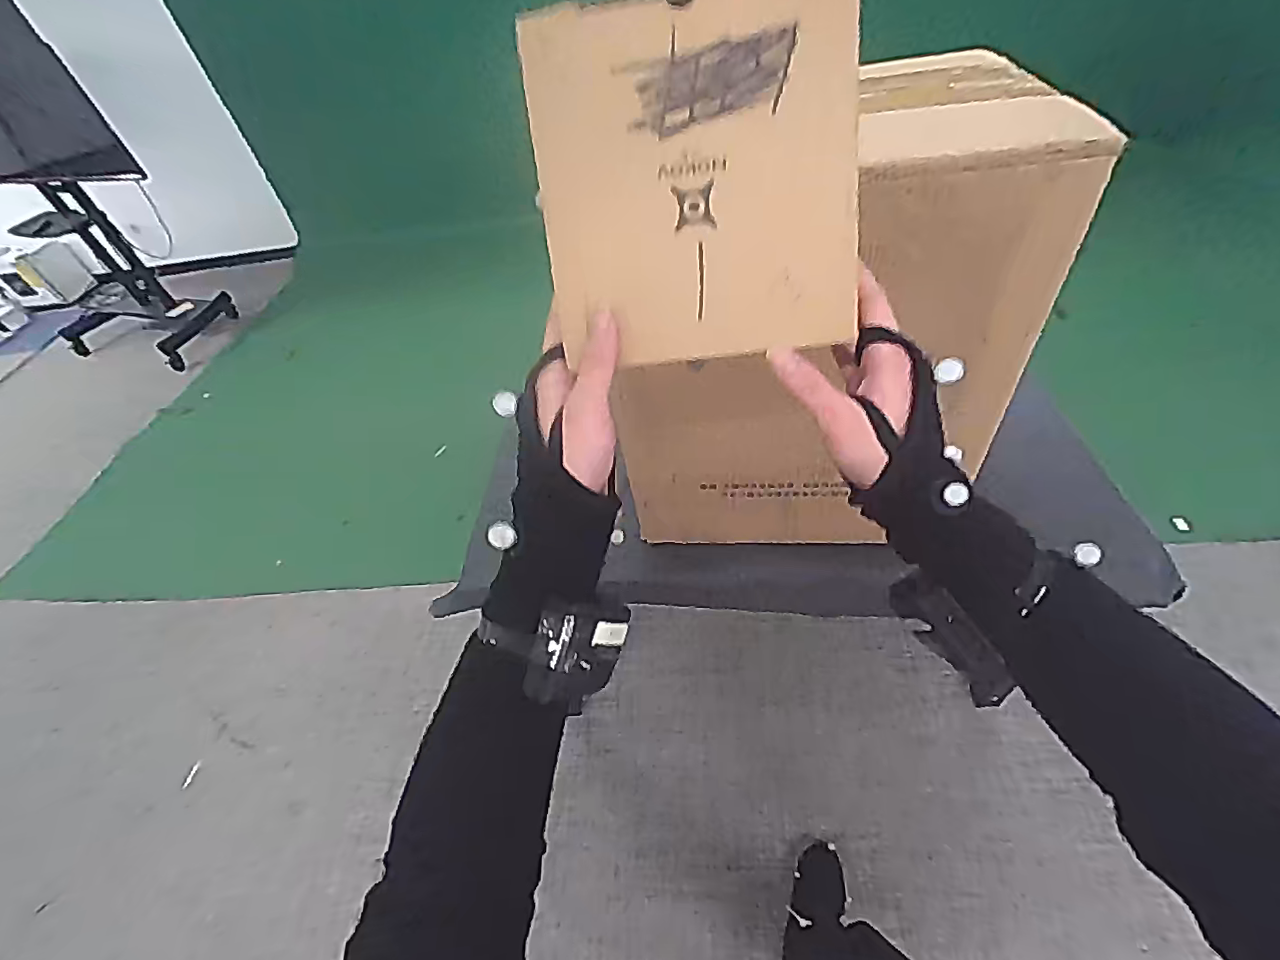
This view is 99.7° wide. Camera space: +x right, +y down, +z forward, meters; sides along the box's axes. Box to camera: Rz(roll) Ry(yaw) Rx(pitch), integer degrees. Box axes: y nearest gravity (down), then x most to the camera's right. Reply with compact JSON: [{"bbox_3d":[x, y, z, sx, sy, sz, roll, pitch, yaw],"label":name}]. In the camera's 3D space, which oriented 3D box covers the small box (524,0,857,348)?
[{"bbox_3d":[0.035,-0.187,0.361,0.168,0.179,0.176,-4,17,7],"label":"small box"}]
